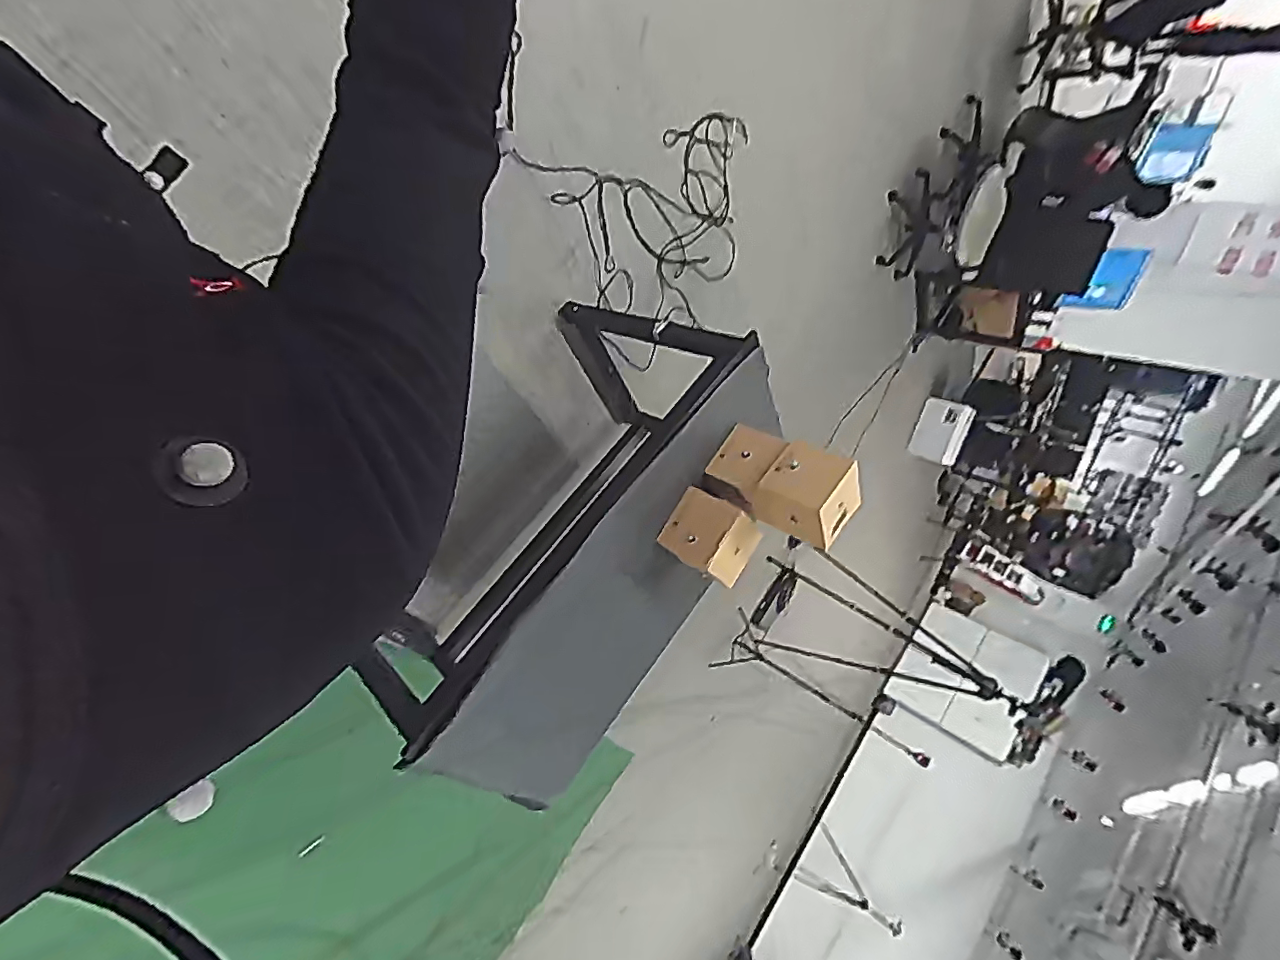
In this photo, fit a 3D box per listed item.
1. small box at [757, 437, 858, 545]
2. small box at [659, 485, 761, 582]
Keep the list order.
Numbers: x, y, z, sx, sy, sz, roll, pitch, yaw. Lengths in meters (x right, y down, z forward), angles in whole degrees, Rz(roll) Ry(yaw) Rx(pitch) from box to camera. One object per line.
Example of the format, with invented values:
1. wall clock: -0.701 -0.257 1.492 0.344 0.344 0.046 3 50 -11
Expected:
1. small box: 0.410 0.021 1.319 0.168 0.176 0.179 -49 139 -18
2. small box: 0.177 0.133 1.383 0.168 0.176 0.179 -57 142 -8
